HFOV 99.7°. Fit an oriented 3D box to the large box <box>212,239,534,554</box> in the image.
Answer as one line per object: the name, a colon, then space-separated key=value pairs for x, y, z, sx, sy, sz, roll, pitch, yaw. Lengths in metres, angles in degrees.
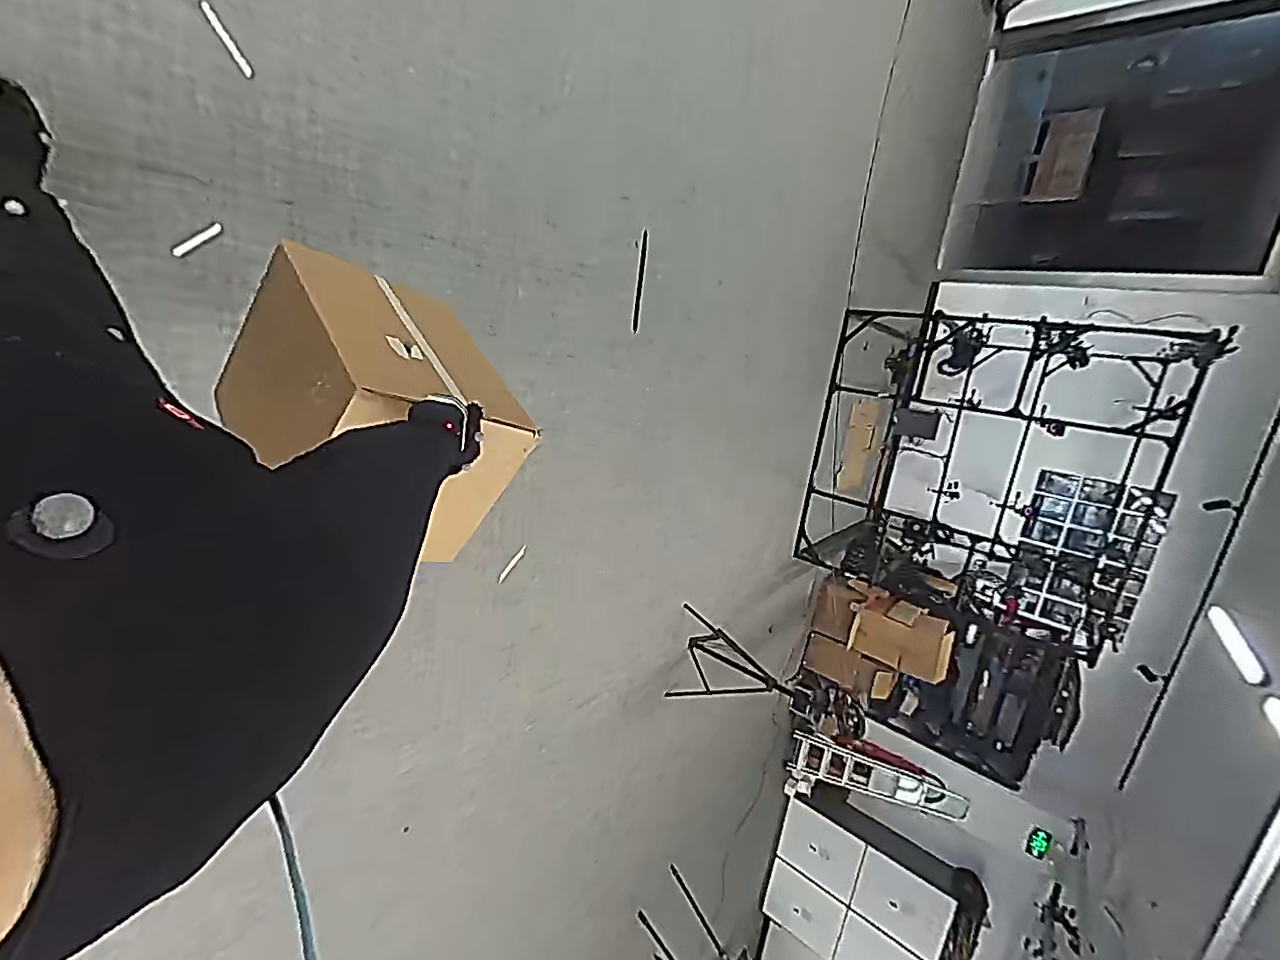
large box: x=-0.465 y=-0.122 z=0.930 sx=0.320 sy=0.408 sz=0.320 roll=-50 pitch=150 yaw=19
